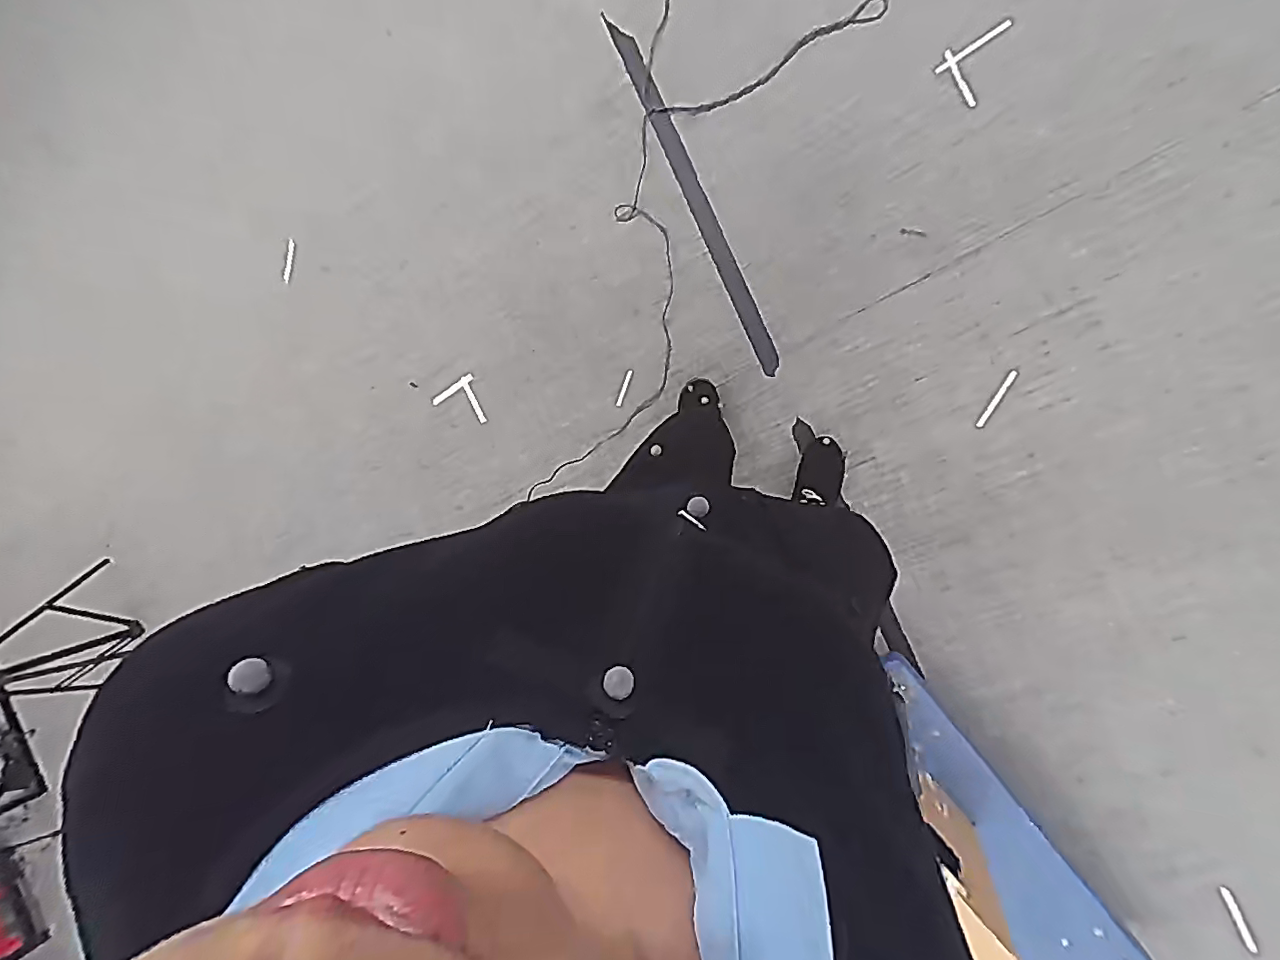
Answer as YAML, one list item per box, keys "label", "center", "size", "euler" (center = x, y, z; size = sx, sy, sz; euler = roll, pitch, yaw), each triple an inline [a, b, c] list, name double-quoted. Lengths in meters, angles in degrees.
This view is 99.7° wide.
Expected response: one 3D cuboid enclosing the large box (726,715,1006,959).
- label: "large box"
  center: [0.453, 0.793, 1.148]
  size: [0.408, 0.320, 0.320]
  euler: [-45, 81, 20]
